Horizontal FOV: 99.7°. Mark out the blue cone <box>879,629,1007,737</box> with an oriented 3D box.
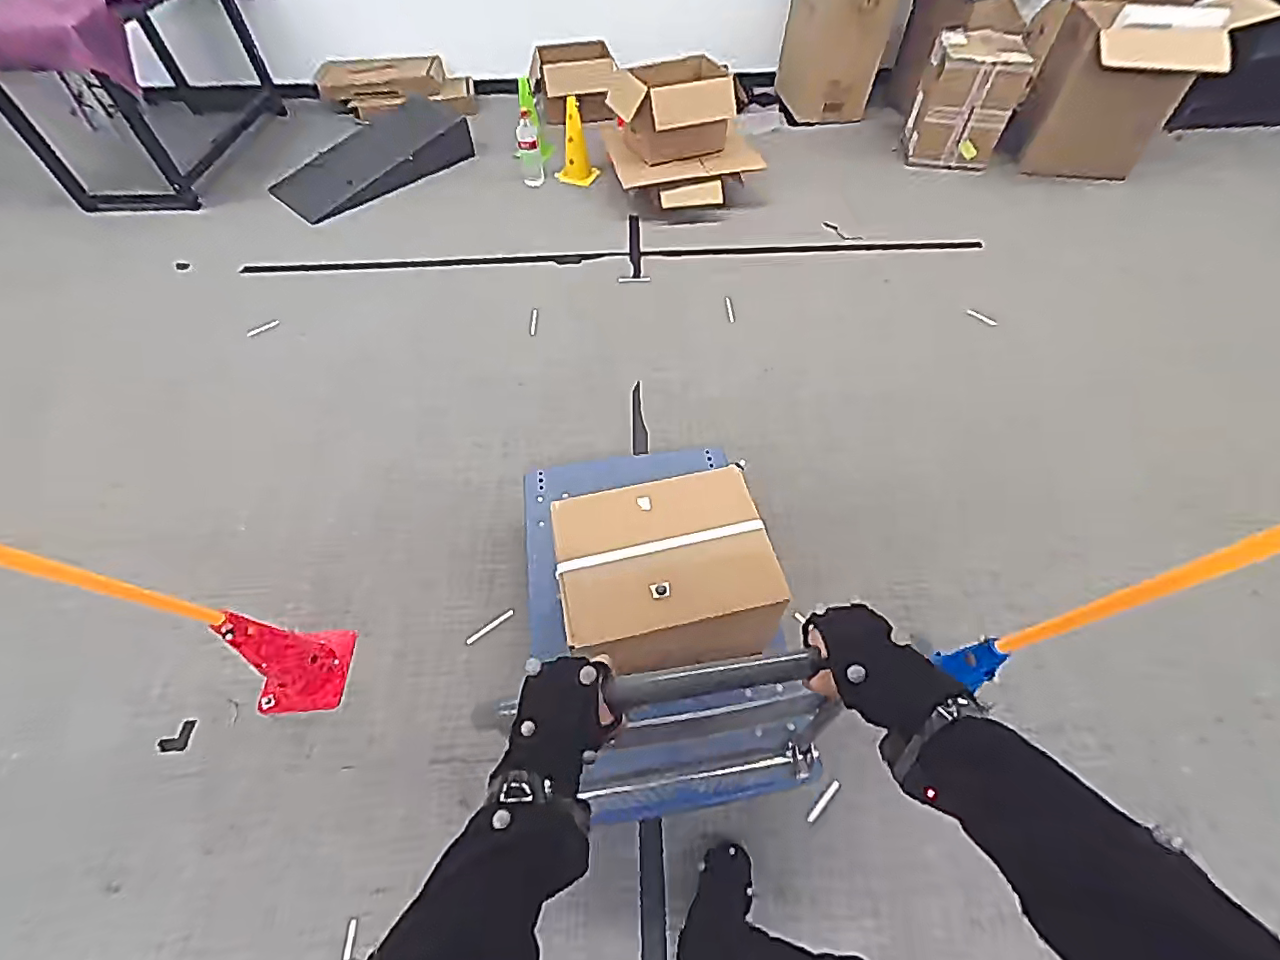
[{"bbox_3d":[0.704,0.428,1.199,0.193,0.380,0.192,-5,53,-3],"label":"blue cone"}]
